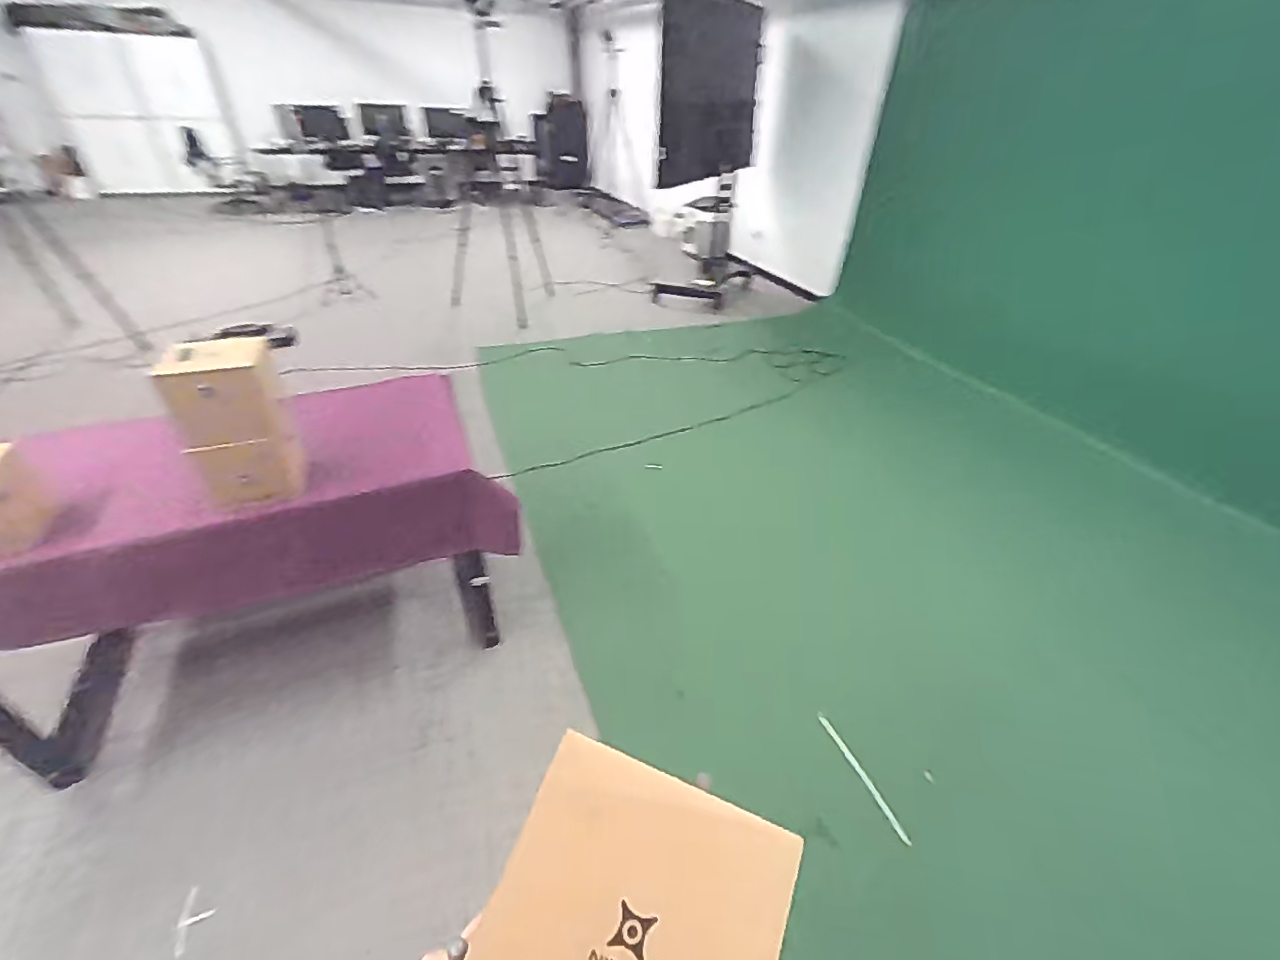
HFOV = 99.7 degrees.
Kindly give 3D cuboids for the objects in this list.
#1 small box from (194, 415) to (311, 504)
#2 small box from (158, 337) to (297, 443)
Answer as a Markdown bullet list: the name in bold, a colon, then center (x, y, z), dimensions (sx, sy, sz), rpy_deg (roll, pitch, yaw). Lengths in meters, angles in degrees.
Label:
- **small box**: center (-0.889, -0.058, 1.260), dimensions (0.168, 0.176, 0.179), rpy_deg (-11, 38, -19)
- **small box**: center (-0.876, -0.195, 1.168), dimensions (0.179, 0.176, 0.168), rpy_deg (-10, 38, -18)
